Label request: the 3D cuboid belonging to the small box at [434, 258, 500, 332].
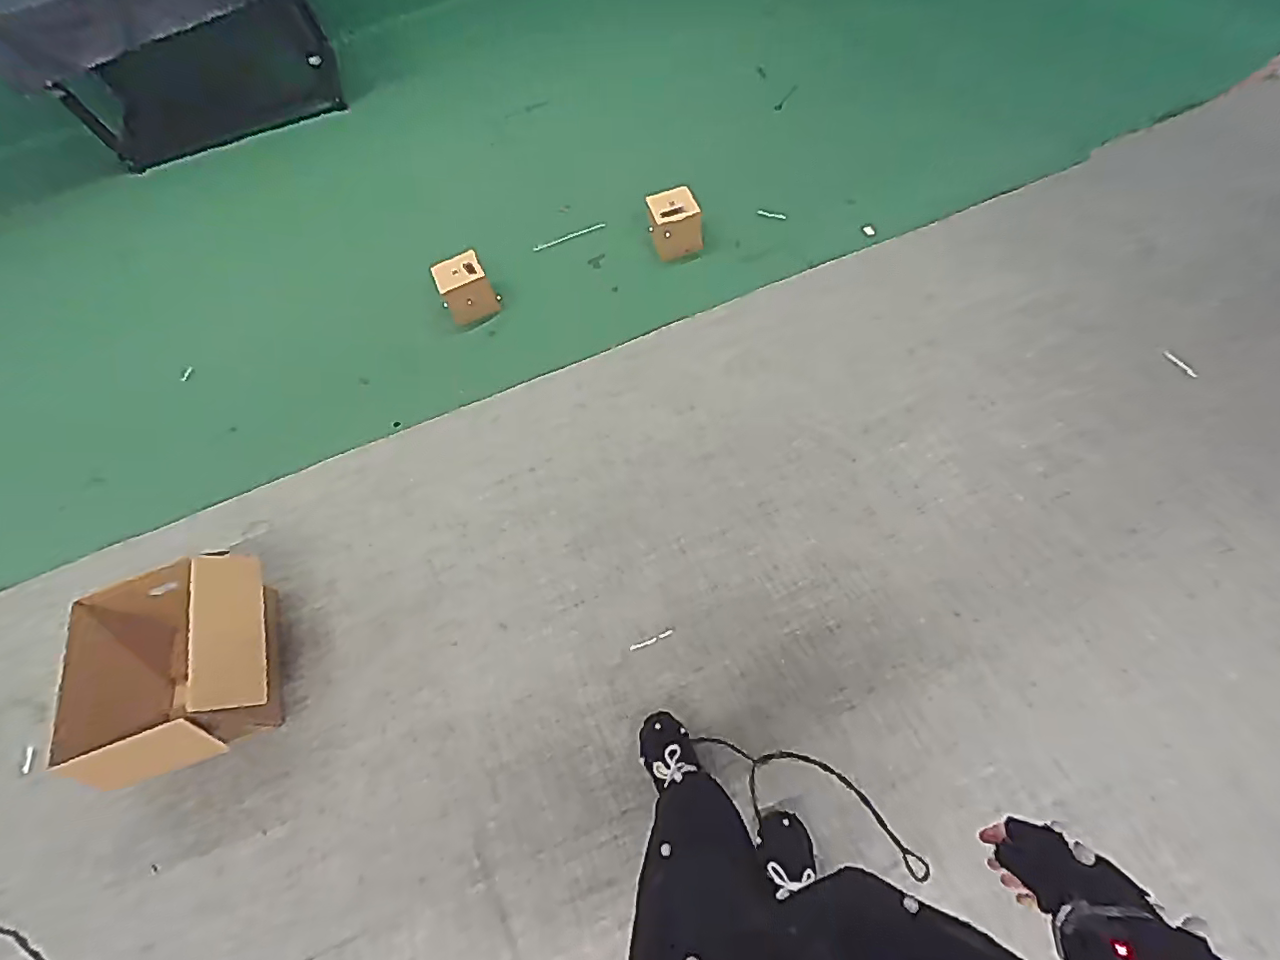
[{"bbox_3d":[-0.645,-0.698,2.047,0.179,0.176,0.168,-25,60,-5],"label":"small box"}]
